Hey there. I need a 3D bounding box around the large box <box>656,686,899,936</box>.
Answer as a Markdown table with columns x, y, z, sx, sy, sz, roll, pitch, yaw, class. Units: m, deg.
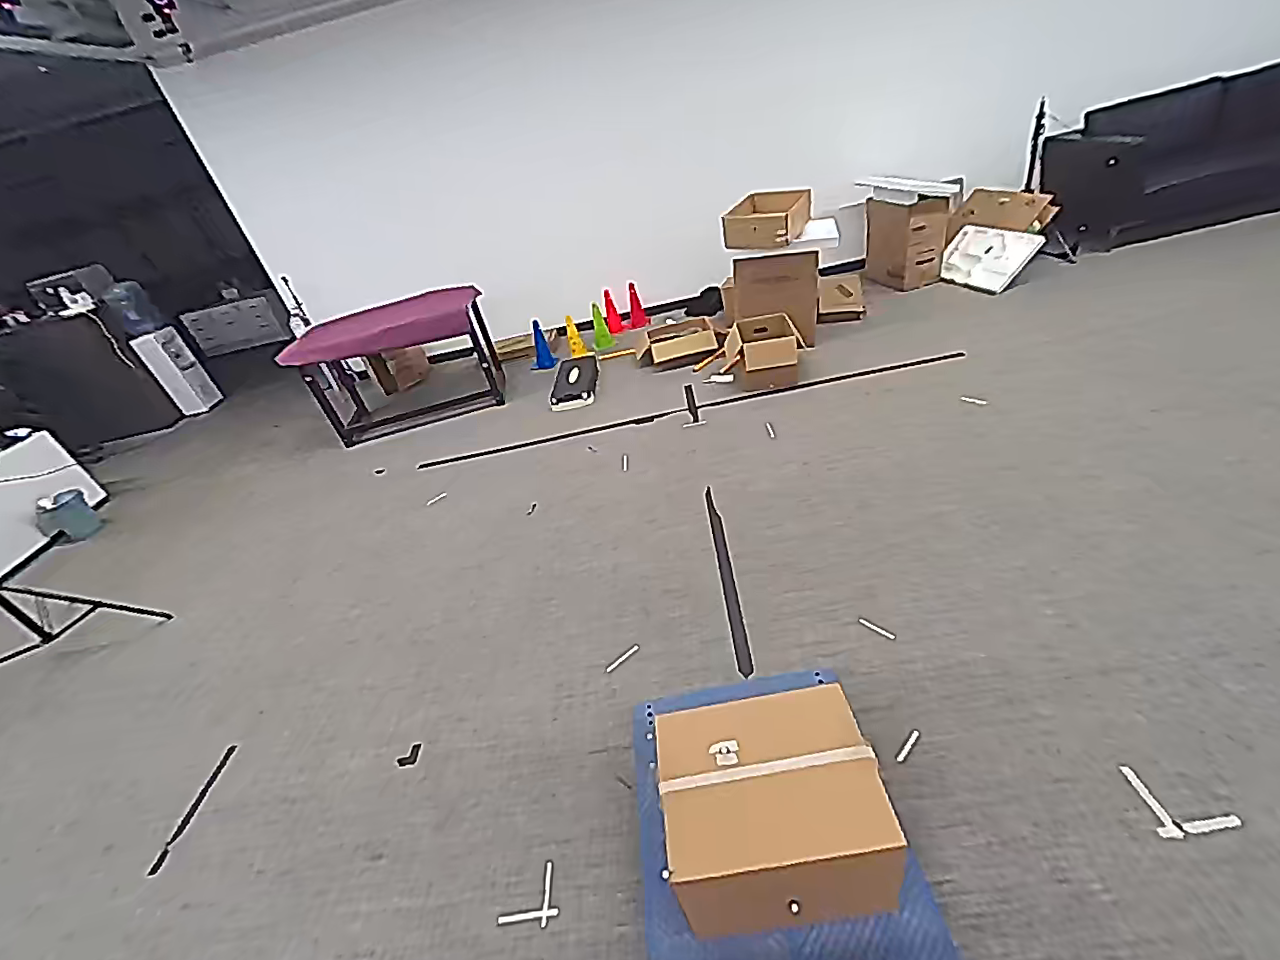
| x | y | z | sx | sy | sz | roll | pitch | yaw | class |
| --- | --- | --- | --- | --- | --- | --- | --- | --- | --- |
| 0.272 | 0.690 | 1.133 | 0.408 | 0.320 | 0.320 | -13 | 33 | 4 | large box |
